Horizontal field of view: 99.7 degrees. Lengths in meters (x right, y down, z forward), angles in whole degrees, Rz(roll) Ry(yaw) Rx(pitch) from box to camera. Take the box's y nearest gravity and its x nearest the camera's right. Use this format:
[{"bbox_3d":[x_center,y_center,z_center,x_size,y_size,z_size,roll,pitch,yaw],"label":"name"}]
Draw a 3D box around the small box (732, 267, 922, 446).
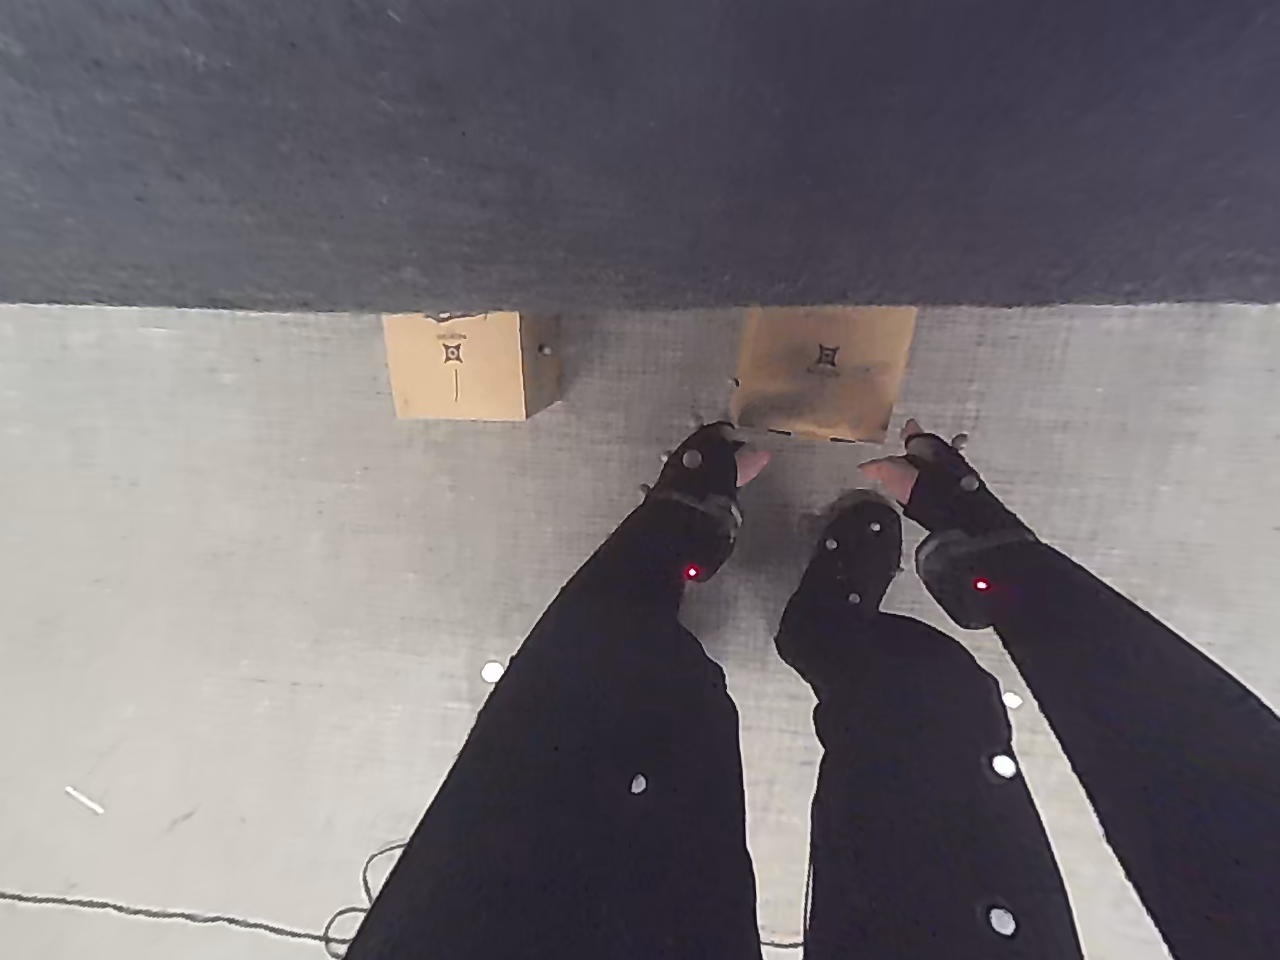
[{"bbox_3d":[0.207,-0.150,0.655,0.168,0.176,0.179,6,105,3],"label":"small box"}]
